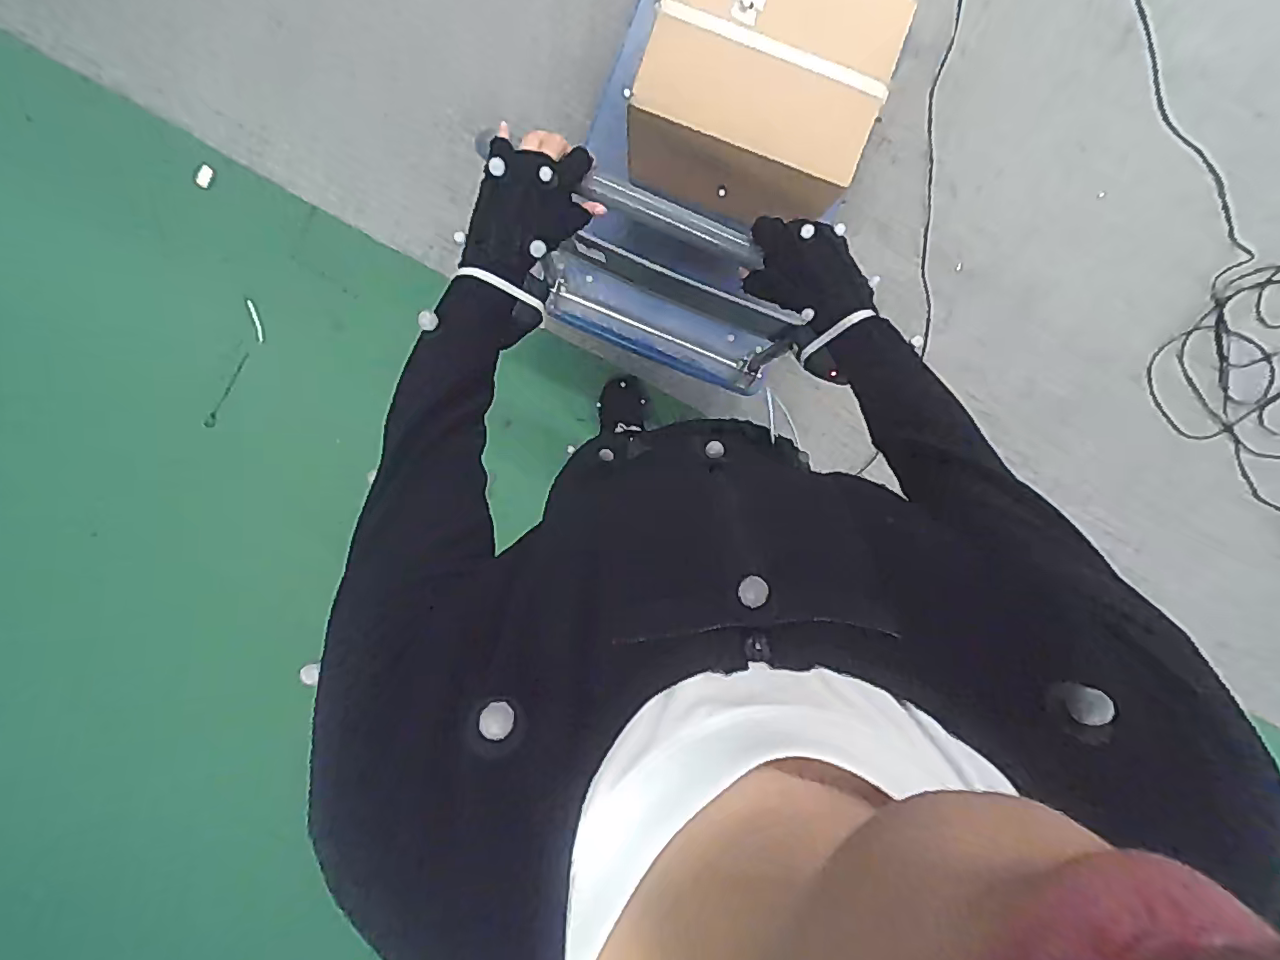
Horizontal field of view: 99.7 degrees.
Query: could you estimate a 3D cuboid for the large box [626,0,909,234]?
[{"bbox_3d":[0.213,-0.734,1.049,0.408,0.320,0.320,19,97,-3],"label":"large box"}]
